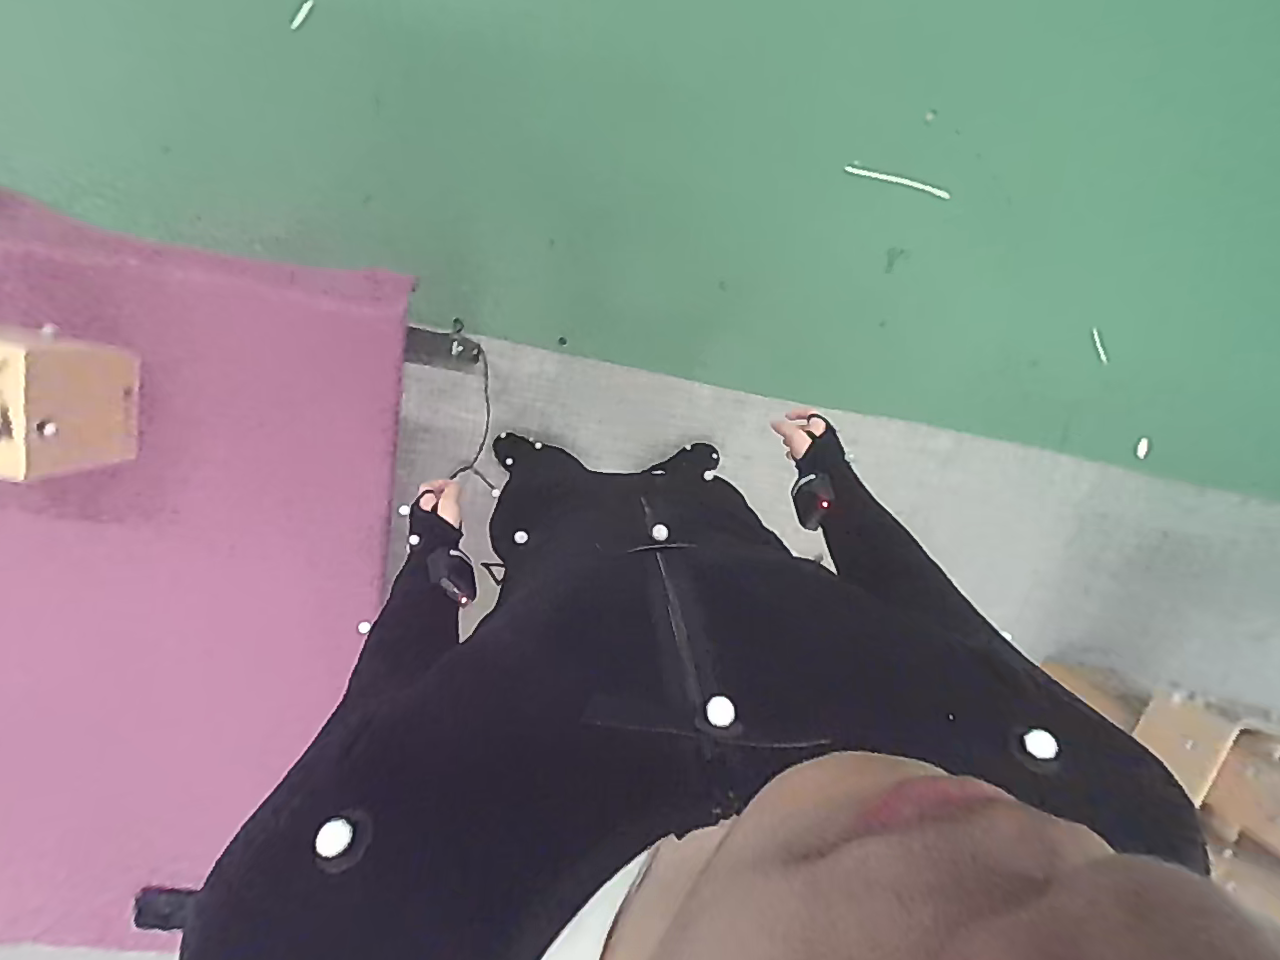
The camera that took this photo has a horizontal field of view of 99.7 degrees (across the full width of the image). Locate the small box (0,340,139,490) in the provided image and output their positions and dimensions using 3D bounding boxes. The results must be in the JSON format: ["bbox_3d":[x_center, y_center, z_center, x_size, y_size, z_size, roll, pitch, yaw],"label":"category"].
[{"bbox_3d":[-0.831,-0.095,0.717,0.179,0.176,0.168,10,100,-5],"label":"small box"}]

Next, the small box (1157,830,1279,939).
[{"bbox_3d":[1.503,1.036,1.381,0.179,0.176,0.168,16,98,-5],"label":"small box"}]
